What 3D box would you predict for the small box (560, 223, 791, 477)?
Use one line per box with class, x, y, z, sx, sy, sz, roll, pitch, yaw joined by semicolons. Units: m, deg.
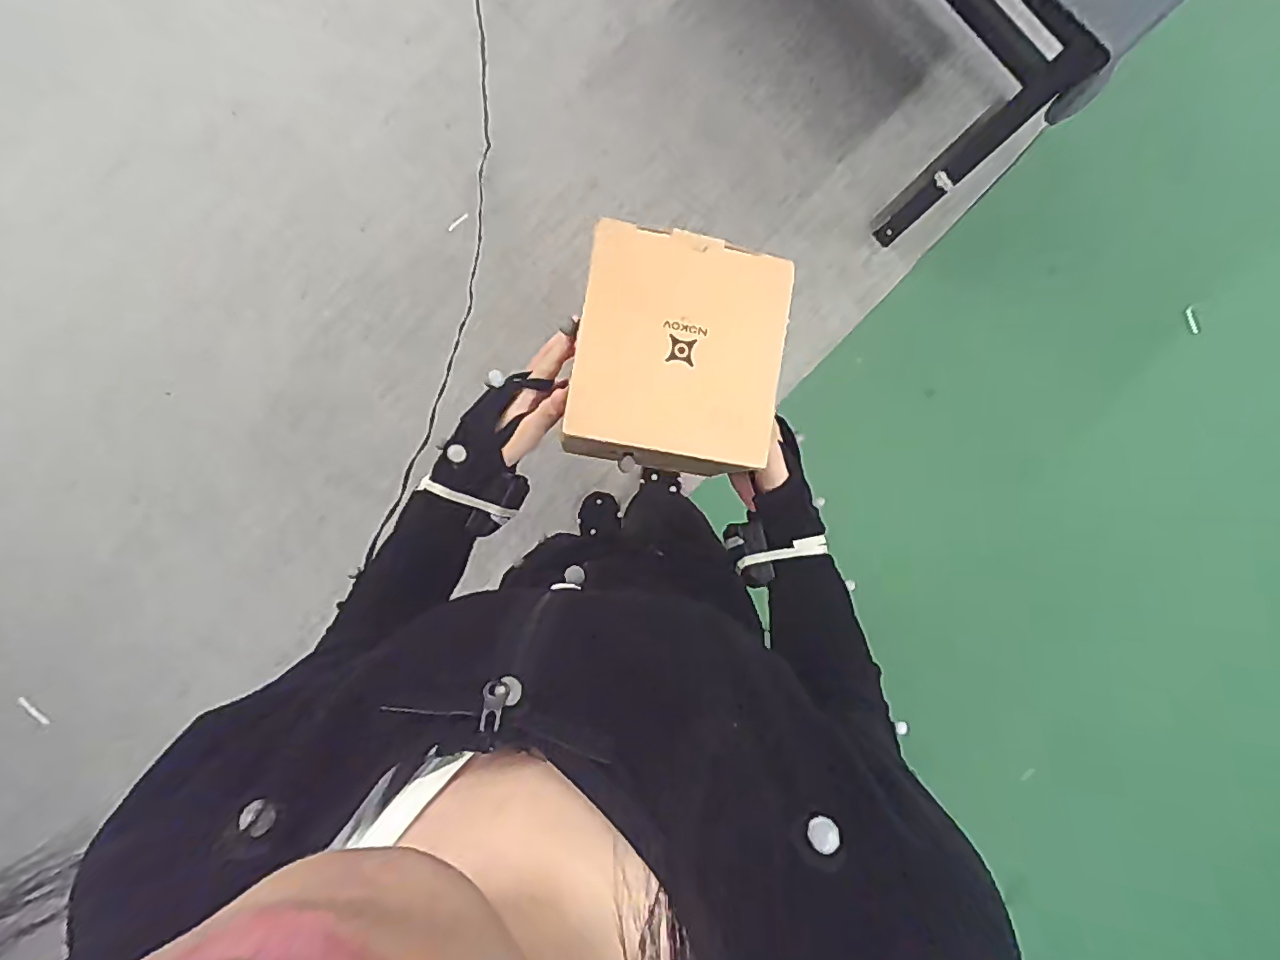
small box;0.022;-0.102;0.512;0.168;0.176;0.179;10;85;-7
